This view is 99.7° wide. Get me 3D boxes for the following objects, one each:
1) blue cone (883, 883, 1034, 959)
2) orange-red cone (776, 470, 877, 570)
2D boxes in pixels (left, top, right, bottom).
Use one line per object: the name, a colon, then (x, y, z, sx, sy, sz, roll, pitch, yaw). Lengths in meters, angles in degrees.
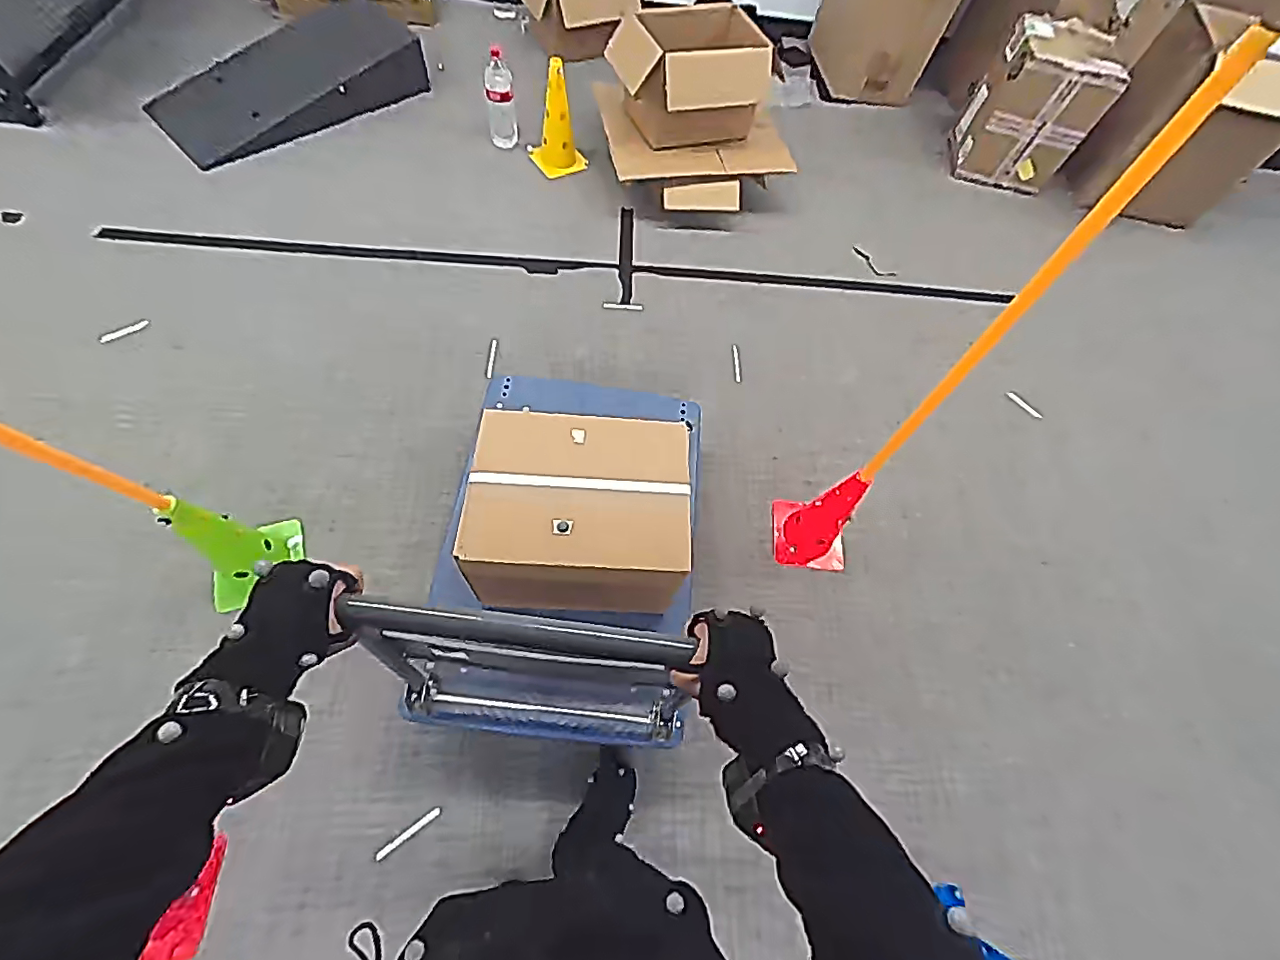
blue cone: (0.631, 0.882, 0.977, 0.193, 0.380, 0.192, -1, 61, -8)
orange-red cone: (0.501, 0.073, 1.376, 0.199, 0.360, 0.198, 9, 62, -3)
